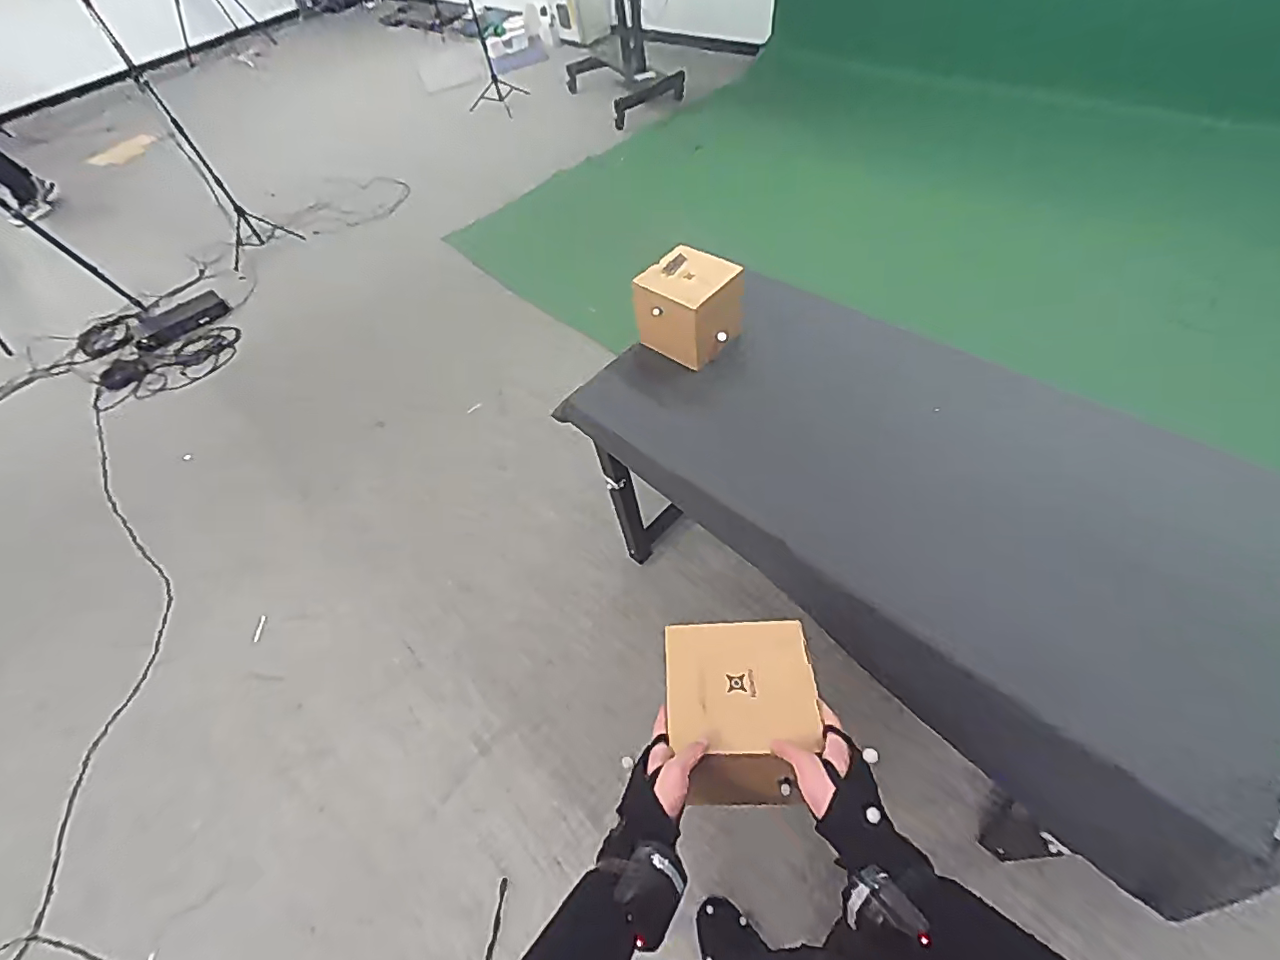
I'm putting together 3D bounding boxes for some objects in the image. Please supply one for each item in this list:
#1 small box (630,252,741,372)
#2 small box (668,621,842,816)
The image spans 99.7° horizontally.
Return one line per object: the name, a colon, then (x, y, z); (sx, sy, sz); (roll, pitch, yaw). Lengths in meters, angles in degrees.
small box: (0.100, -0.367, 1.194); (0.179, 0.176, 0.168); (34, 63, 27)
small box: (0.129, 0.296, 0.671); (0.179, 0.176, 0.168); (-5, 39, 3)
